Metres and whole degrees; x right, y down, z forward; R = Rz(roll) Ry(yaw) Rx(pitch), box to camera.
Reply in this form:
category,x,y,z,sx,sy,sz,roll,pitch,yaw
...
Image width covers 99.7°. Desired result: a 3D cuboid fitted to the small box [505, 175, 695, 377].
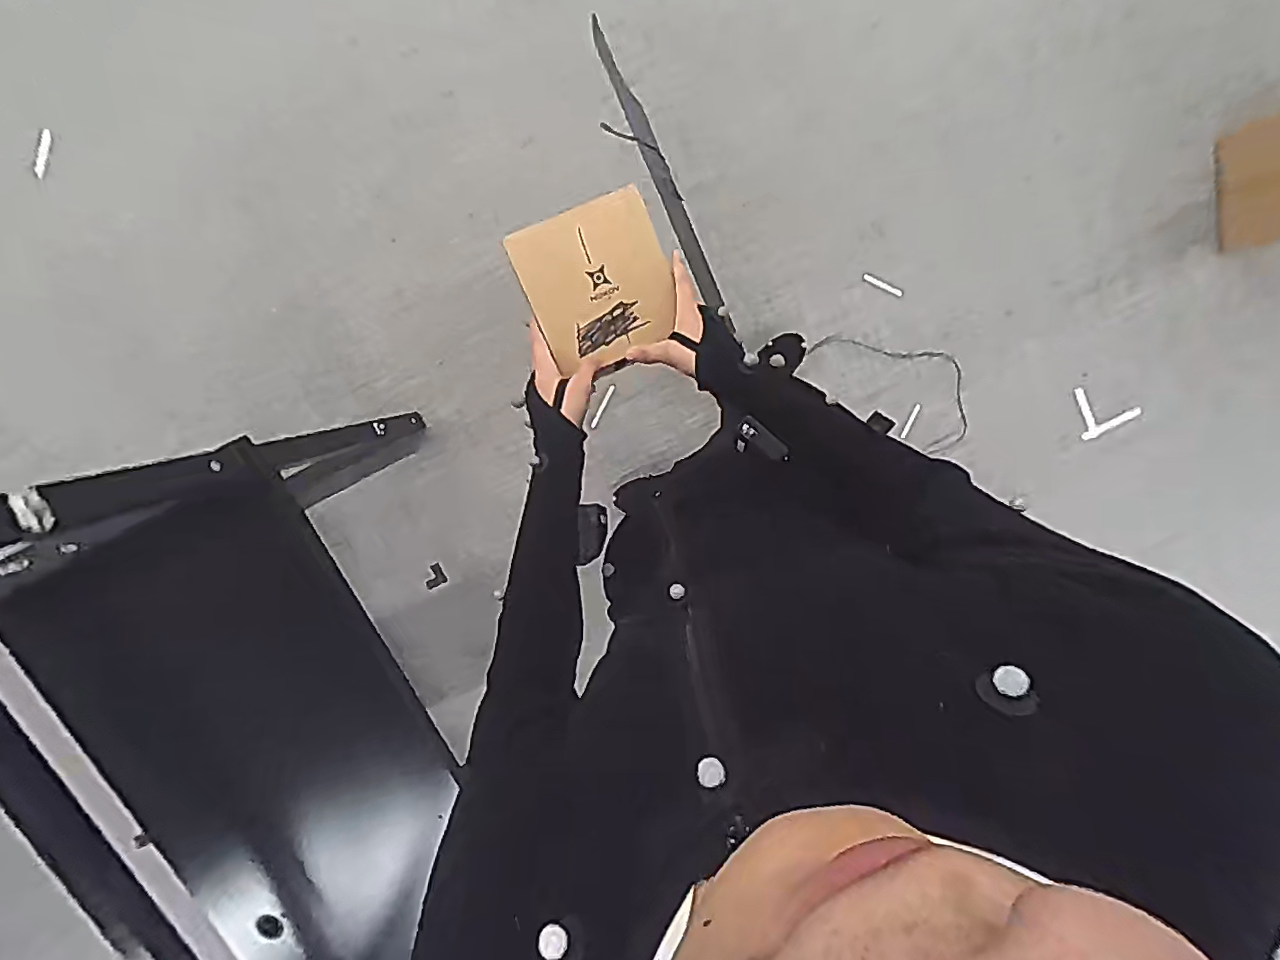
category,x,y,z,sx,sy,sz,roll,pitch,yaw
small box,-0.050,-0.238,0.683,0.168,0.176,0.179,-24,99,-4
